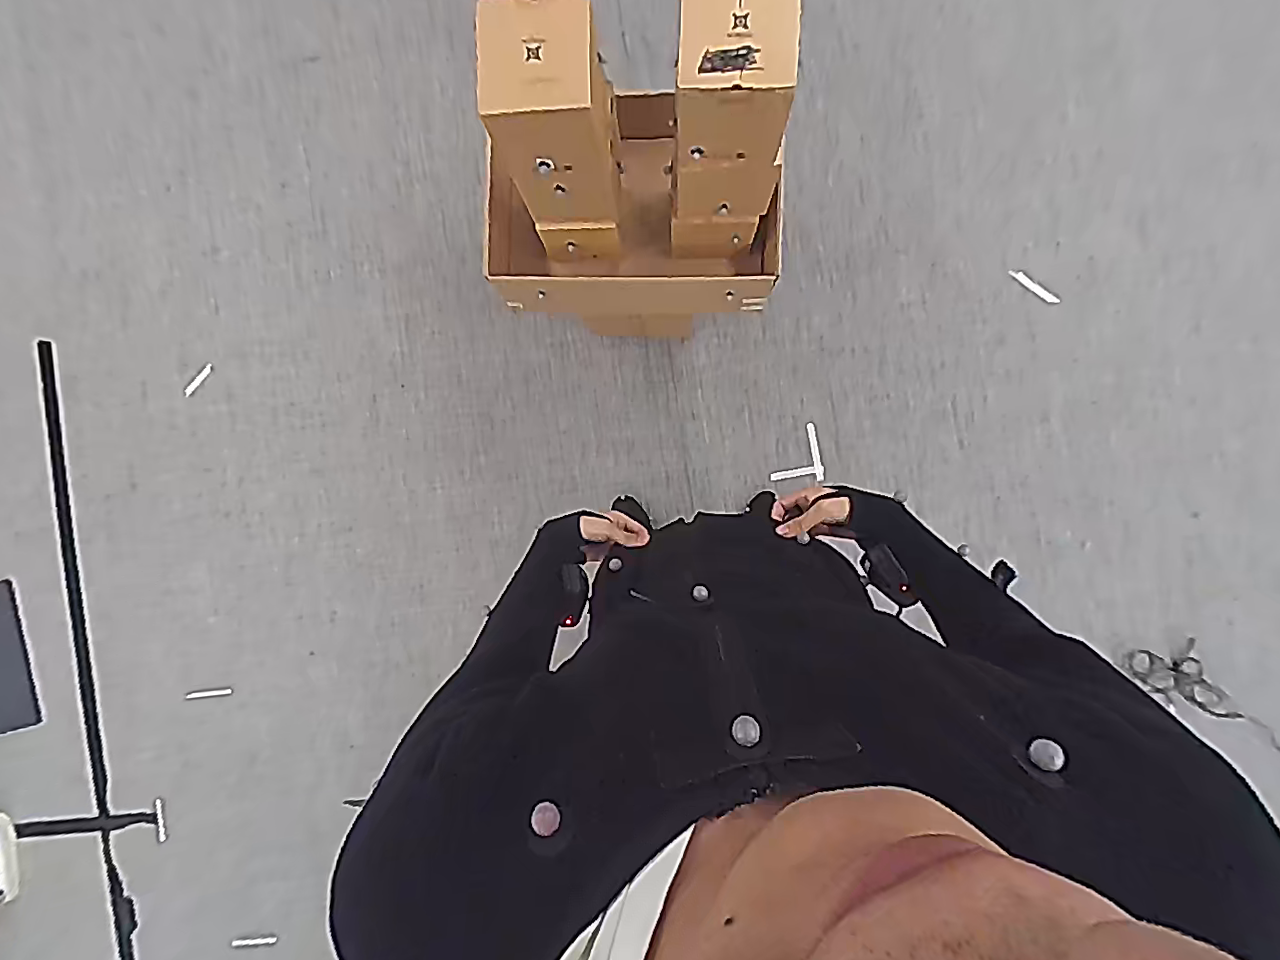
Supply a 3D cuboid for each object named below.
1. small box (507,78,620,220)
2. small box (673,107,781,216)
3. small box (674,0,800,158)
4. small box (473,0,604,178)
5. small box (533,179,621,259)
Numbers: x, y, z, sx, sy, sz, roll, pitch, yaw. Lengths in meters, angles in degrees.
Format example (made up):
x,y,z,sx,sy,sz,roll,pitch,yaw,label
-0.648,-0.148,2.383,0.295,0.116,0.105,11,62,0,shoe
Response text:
x,y,z,sx,sy,sz,roll,pitch,yaw,label
-0.134,-0.600,0.998,0.179,0.176,0.168,1,89,2,small box
0.150,-0.598,0.977,0.179,0.176,0.168,-1,89,3,small box
0.139,-0.615,0.813,0.168,0.176,0.179,3,89,4,small box
-0.148,-0.602,0.834,0.168,0.176,0.179,-1,88,4,small box
-0.129,-0.590,1.162,0.168,0.176,0.179,0,89,2,small box
